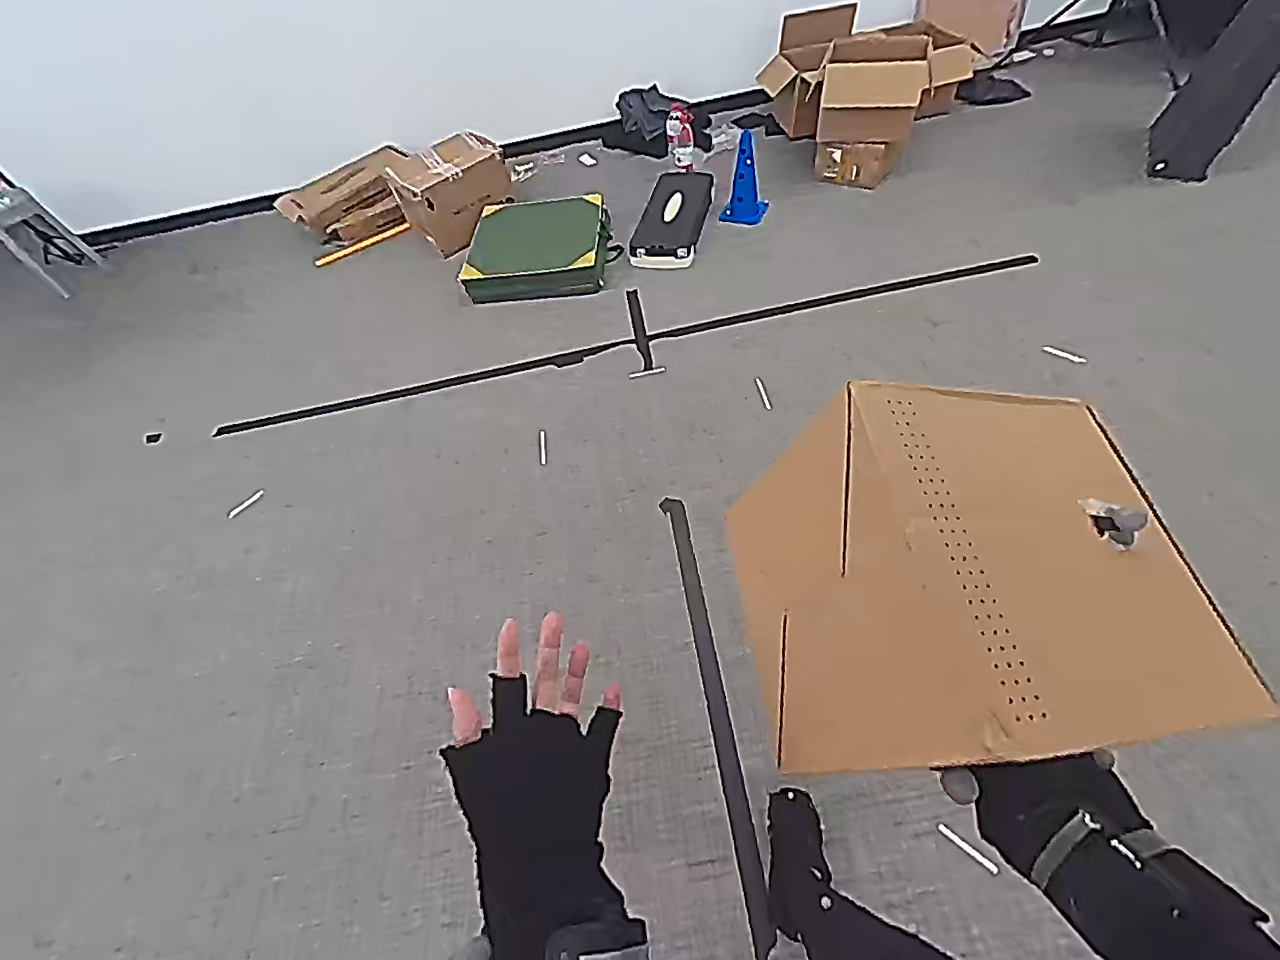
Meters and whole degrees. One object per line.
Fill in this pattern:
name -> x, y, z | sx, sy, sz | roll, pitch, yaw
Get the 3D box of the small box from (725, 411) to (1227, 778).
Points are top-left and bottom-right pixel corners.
small box -> 0.167, 0.070, 0.335 | 0.176, 0.168, 0.179 | 0, 60, -16
